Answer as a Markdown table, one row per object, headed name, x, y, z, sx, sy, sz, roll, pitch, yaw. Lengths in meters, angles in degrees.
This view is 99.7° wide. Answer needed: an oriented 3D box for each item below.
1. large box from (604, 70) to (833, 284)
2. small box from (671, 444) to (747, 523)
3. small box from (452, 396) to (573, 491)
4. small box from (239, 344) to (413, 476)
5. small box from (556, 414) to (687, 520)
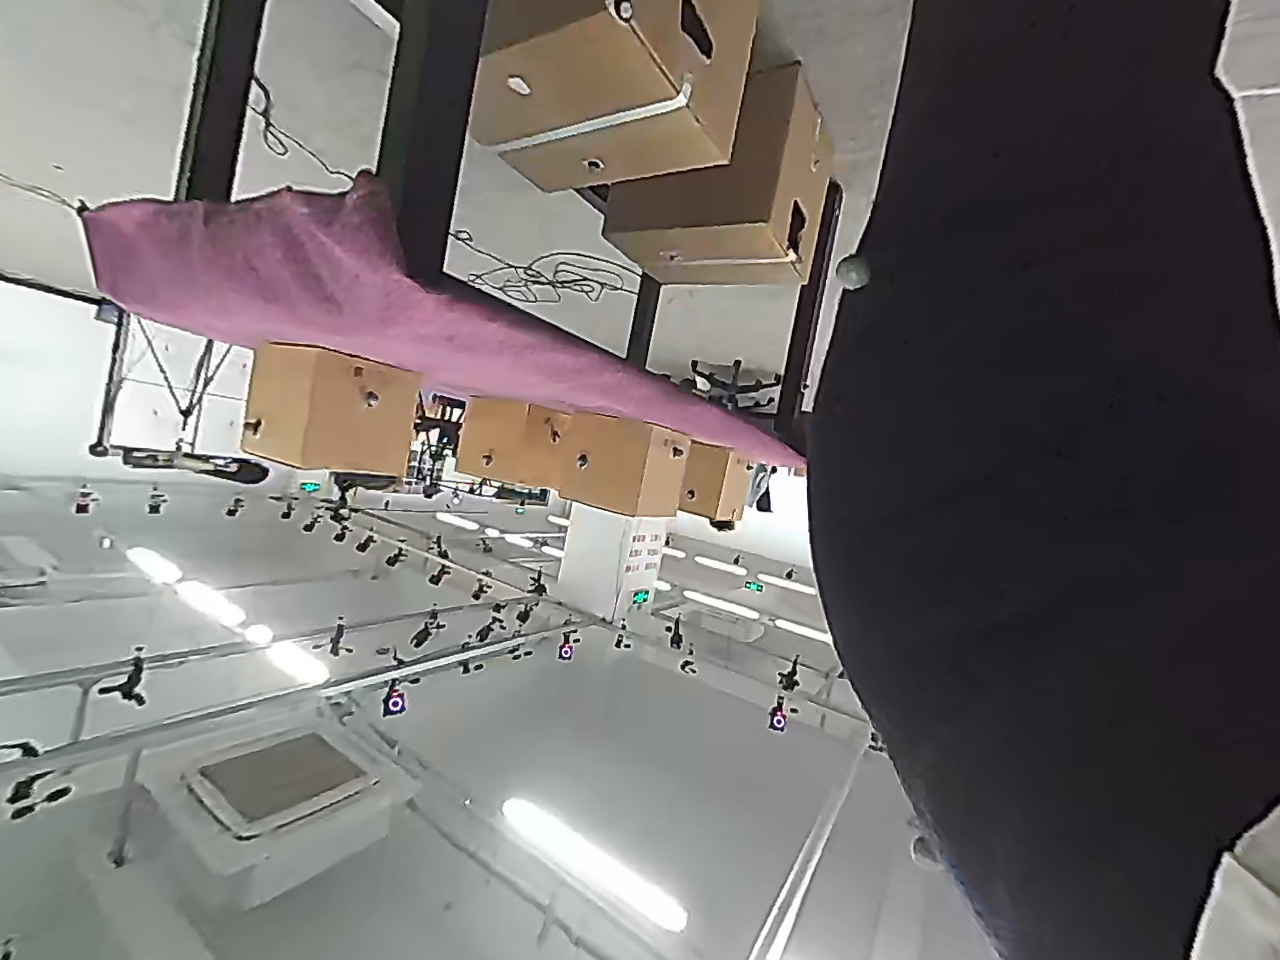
| name | x | y | z | sx | sy | sz | roll | pitch | yaw |
| --- | --- | --- | --- | --- | --- | --- | --- | --- | --- |
| large box | 0.186 | -0.663 | 1.257 | 0.408 | 0.320 | 0.320 | 14 | -178 | 31 |
| small box | 0.154 | 0.005 | 1.344 | 0.179 | 0.176 | 0.168 | 14 | -178 | 32 |
| small box | -0.268 | -0.079 | 1.161 | 0.179 | 0.176 | 0.168 | 11 | -179 | 29 |
| small box | -0.479 | -0.108 | 0.839 | 0.179 | 0.176 | 0.168 | 11 | -177 | 30 |
| small box | -0.030 | -0.026 | 1.033 | 0.179 | 0.176 | 0.168 | 13 | -177 | 29 |
